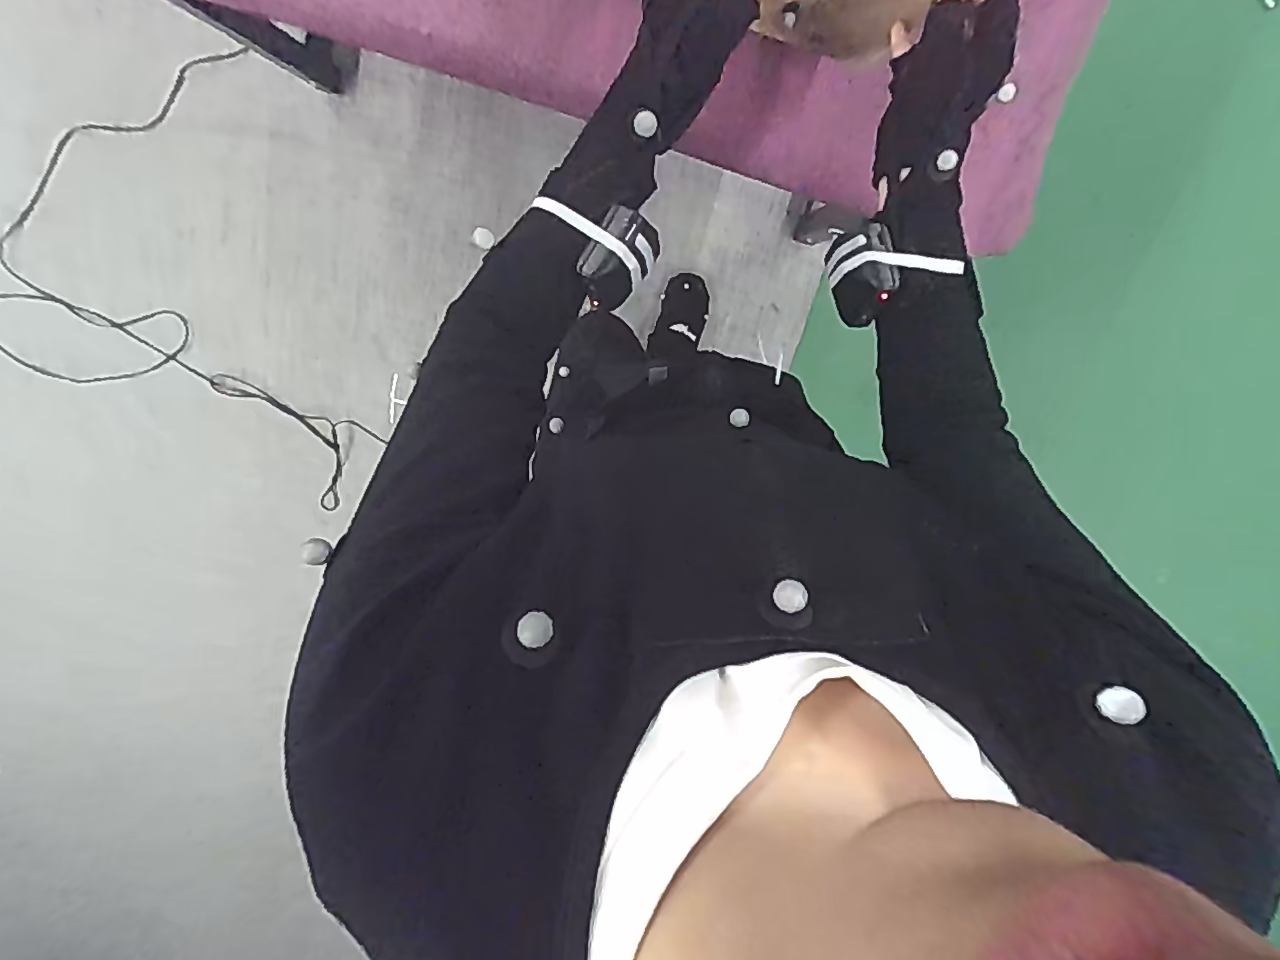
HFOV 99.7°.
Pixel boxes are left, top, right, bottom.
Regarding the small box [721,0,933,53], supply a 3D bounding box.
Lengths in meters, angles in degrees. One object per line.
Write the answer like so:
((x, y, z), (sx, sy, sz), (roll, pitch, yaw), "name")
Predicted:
((0.164, -0.474, 0.407), (0.168, 0.176, 0.179), (13, 112, -7), "small box")
